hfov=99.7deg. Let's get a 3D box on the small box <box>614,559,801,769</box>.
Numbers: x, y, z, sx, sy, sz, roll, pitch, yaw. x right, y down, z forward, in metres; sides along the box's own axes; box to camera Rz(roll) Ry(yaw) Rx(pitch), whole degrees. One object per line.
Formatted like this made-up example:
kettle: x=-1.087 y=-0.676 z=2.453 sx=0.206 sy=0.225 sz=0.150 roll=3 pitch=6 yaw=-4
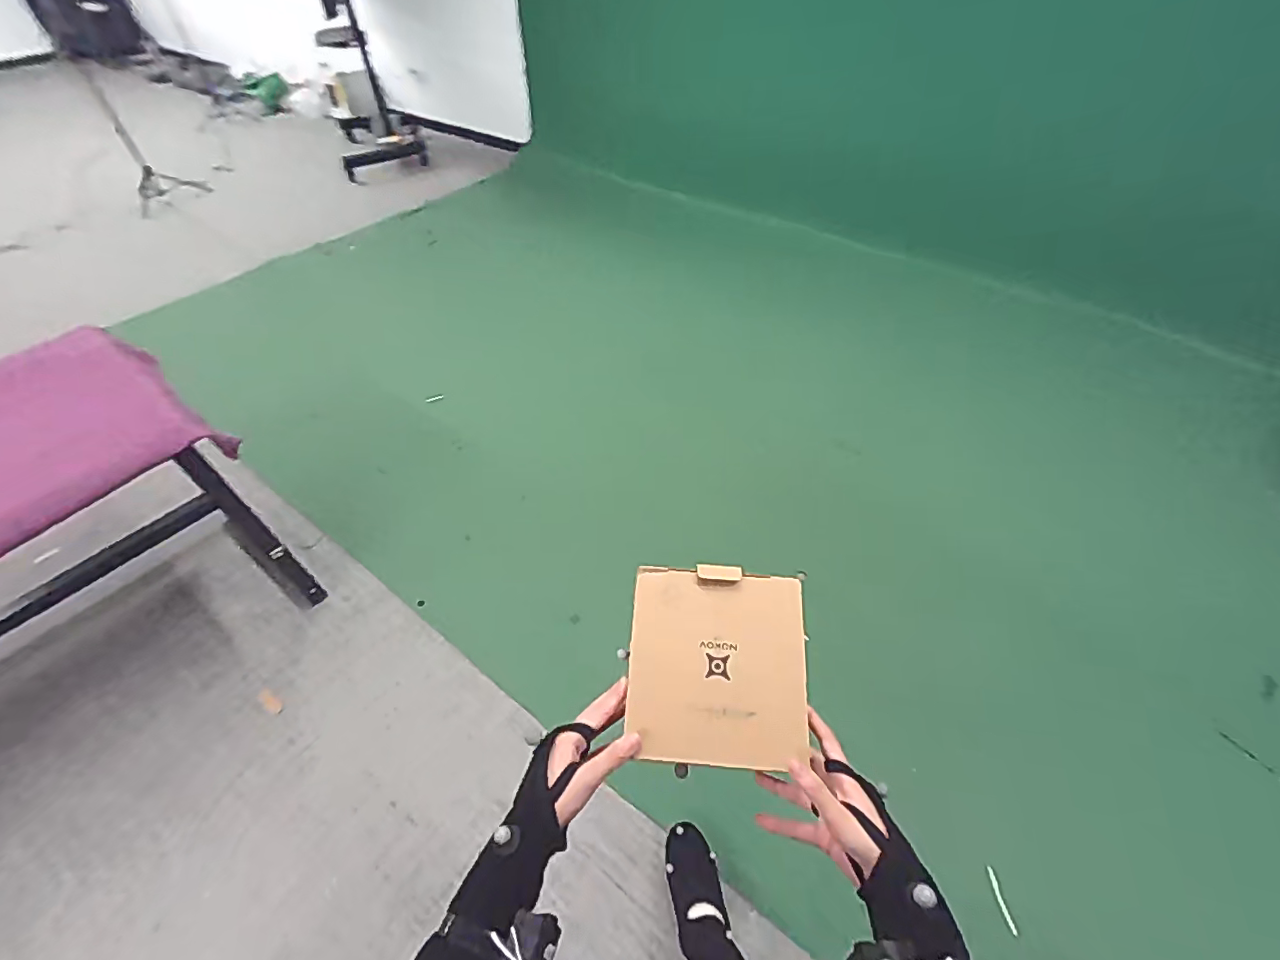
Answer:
small box: x=0.062 y=0.198 z=0.571 sx=0.168 sy=0.176 sz=0.179 roll=5 pitch=64 yaw=1
